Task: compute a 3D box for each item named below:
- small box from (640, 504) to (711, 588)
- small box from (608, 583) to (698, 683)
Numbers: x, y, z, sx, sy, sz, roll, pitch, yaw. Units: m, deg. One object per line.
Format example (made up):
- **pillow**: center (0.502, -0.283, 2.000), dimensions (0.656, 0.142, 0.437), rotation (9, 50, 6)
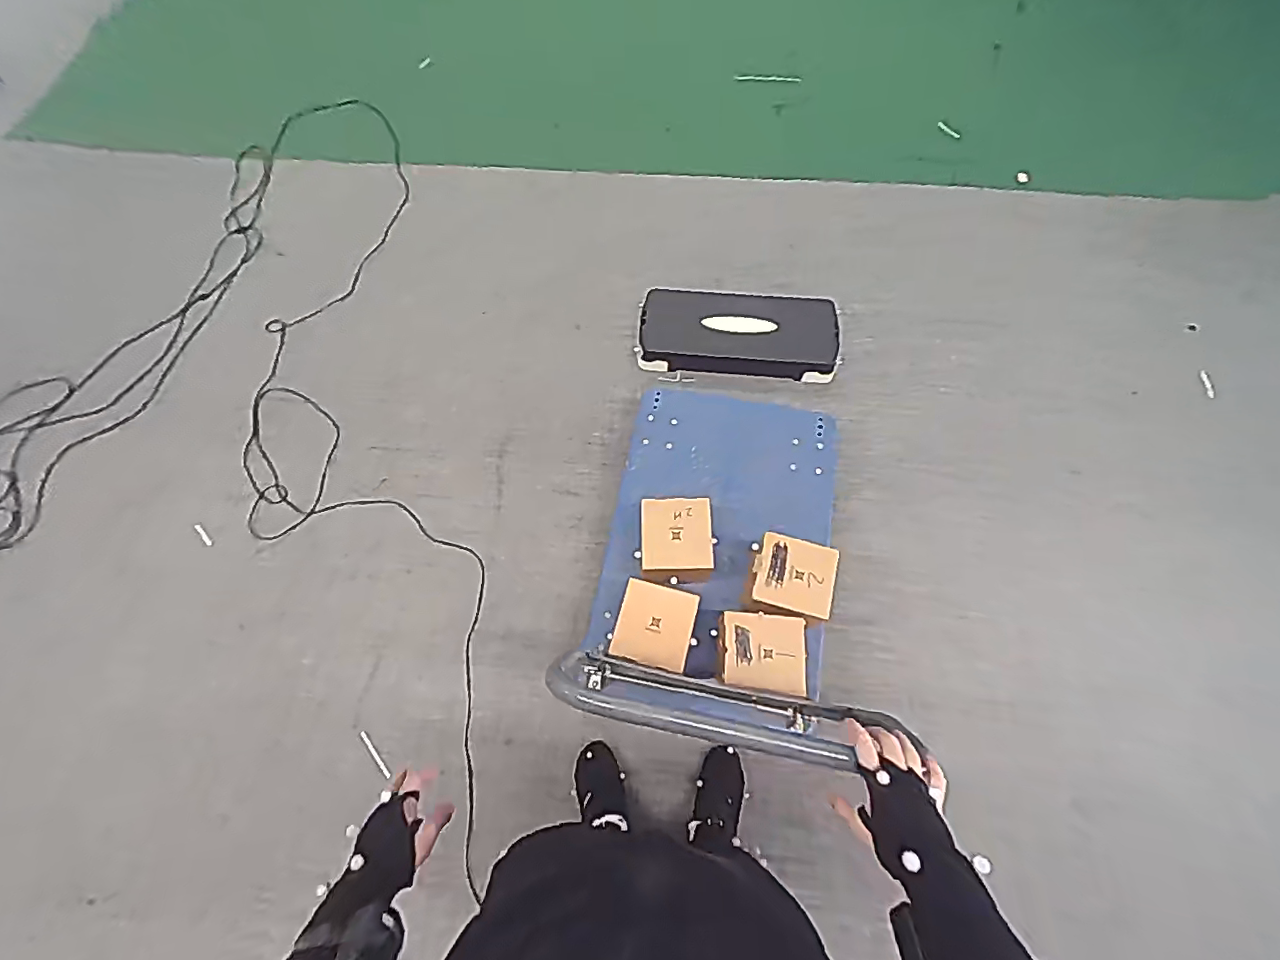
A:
- **small box**: center (0.083, 0.168, 1.337), dimensions (0.168, 0.176, 0.179), rotation (0, 66, 0)
- **small box**: center (0.029, 0.360, 1.257), dimensions (0.168, 0.176, 0.179), rotation (14, 68, 6)
